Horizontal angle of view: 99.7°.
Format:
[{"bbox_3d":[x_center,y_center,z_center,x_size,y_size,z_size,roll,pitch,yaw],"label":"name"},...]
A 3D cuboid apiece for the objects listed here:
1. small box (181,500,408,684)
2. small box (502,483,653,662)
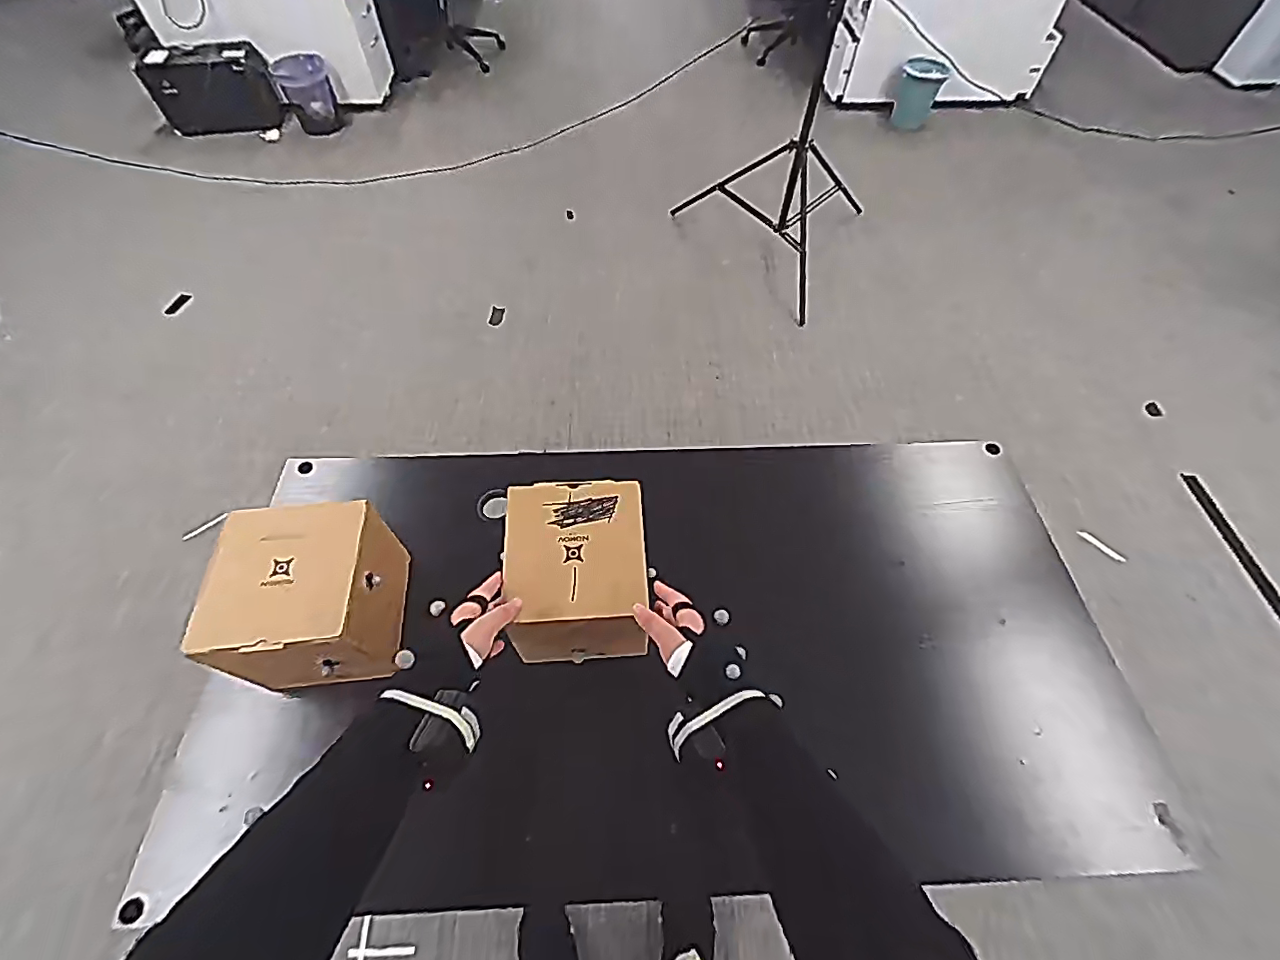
[{"bbox_3d":[-0.405,0.147,0.674,0.168,0.176,0.179,-4,57,-6],"label":"small box"},{"bbox_3d":[-0.074,0.122,0.695,0.168,0.176,0.179,-3,58,-3],"label":"small box"}]
